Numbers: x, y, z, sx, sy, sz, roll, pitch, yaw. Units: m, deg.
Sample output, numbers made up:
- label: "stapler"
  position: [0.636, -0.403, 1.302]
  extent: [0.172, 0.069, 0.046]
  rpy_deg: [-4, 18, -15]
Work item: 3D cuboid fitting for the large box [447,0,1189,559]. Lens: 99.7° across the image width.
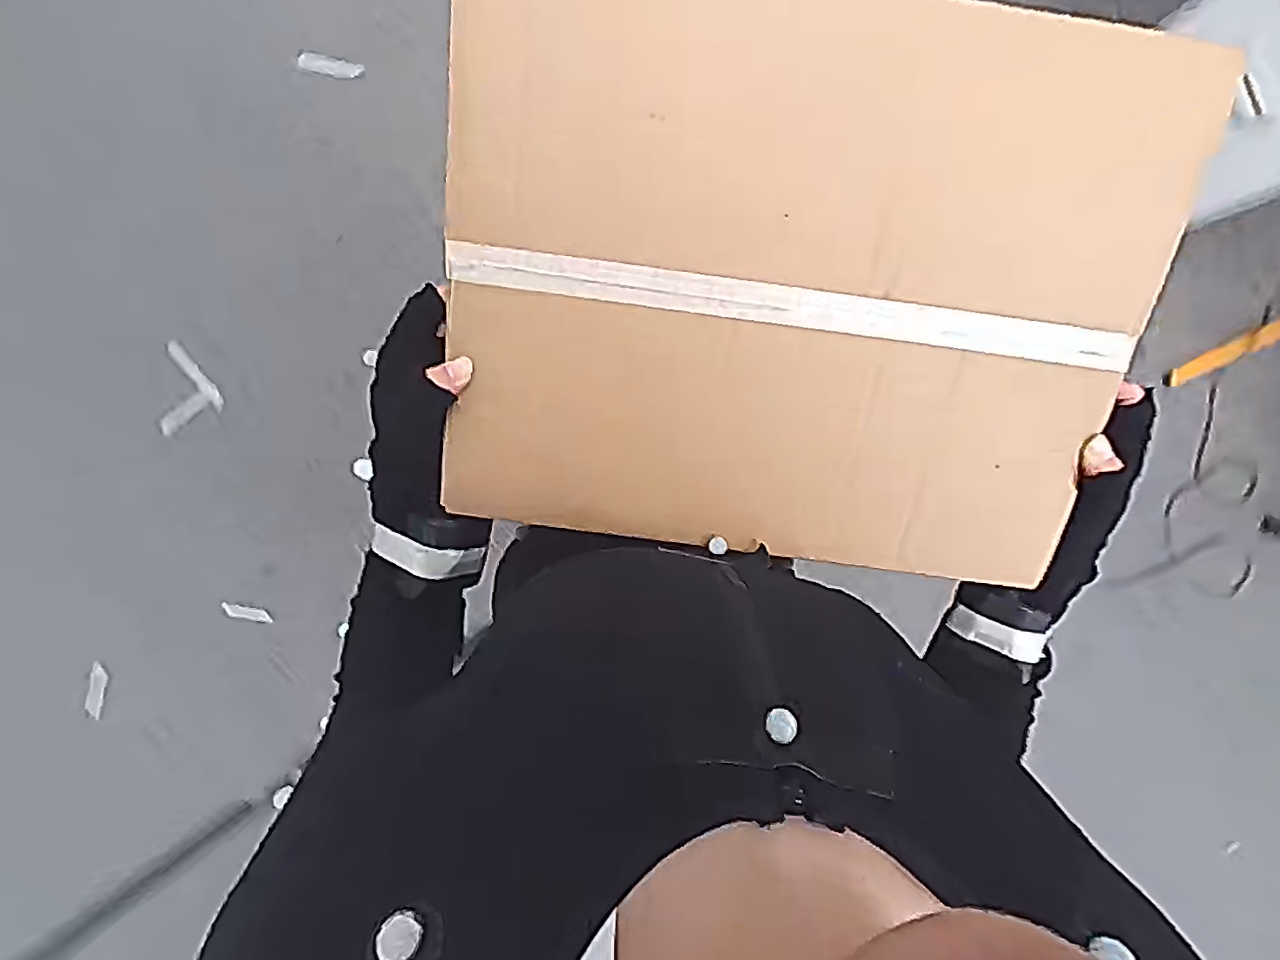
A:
- label: "large box"
  position: [0.081, -0.150, 0.468]
  extent: [0.408, 0.320, 0.320]
  rpy_deg: [6, 109, -2]
